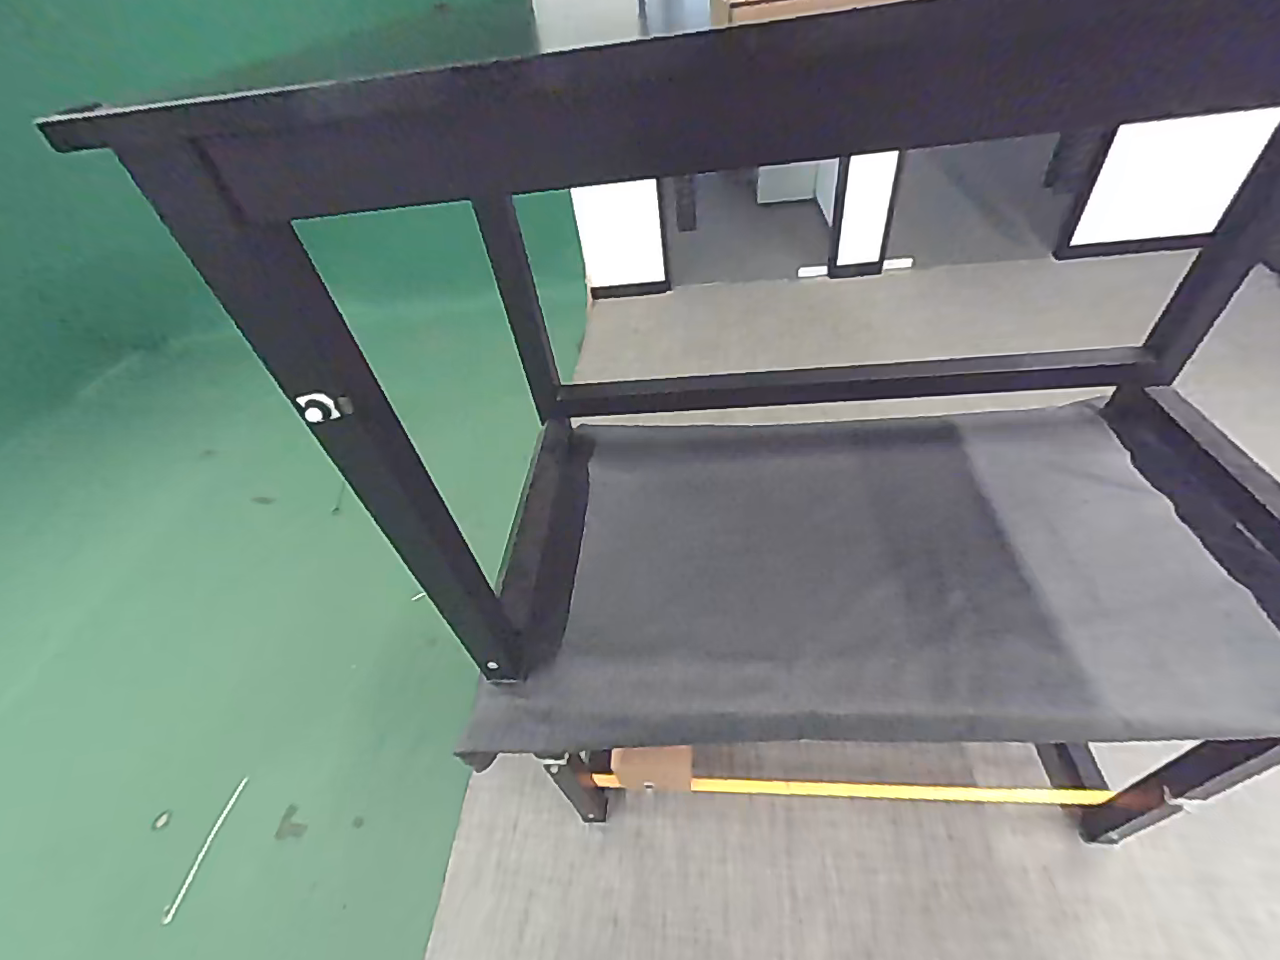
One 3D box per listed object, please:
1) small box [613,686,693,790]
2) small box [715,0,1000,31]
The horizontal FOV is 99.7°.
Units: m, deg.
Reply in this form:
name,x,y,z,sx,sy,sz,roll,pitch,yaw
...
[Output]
name,x,y,z,sx,sy,sz,roll,pitch,yaw
small box,0.036,0.600,1.260,0.168,0.176,0.179,-3,47,7
small box,0.128,-0.383,0.314,0.168,0.176,0.179,-3,45,6
